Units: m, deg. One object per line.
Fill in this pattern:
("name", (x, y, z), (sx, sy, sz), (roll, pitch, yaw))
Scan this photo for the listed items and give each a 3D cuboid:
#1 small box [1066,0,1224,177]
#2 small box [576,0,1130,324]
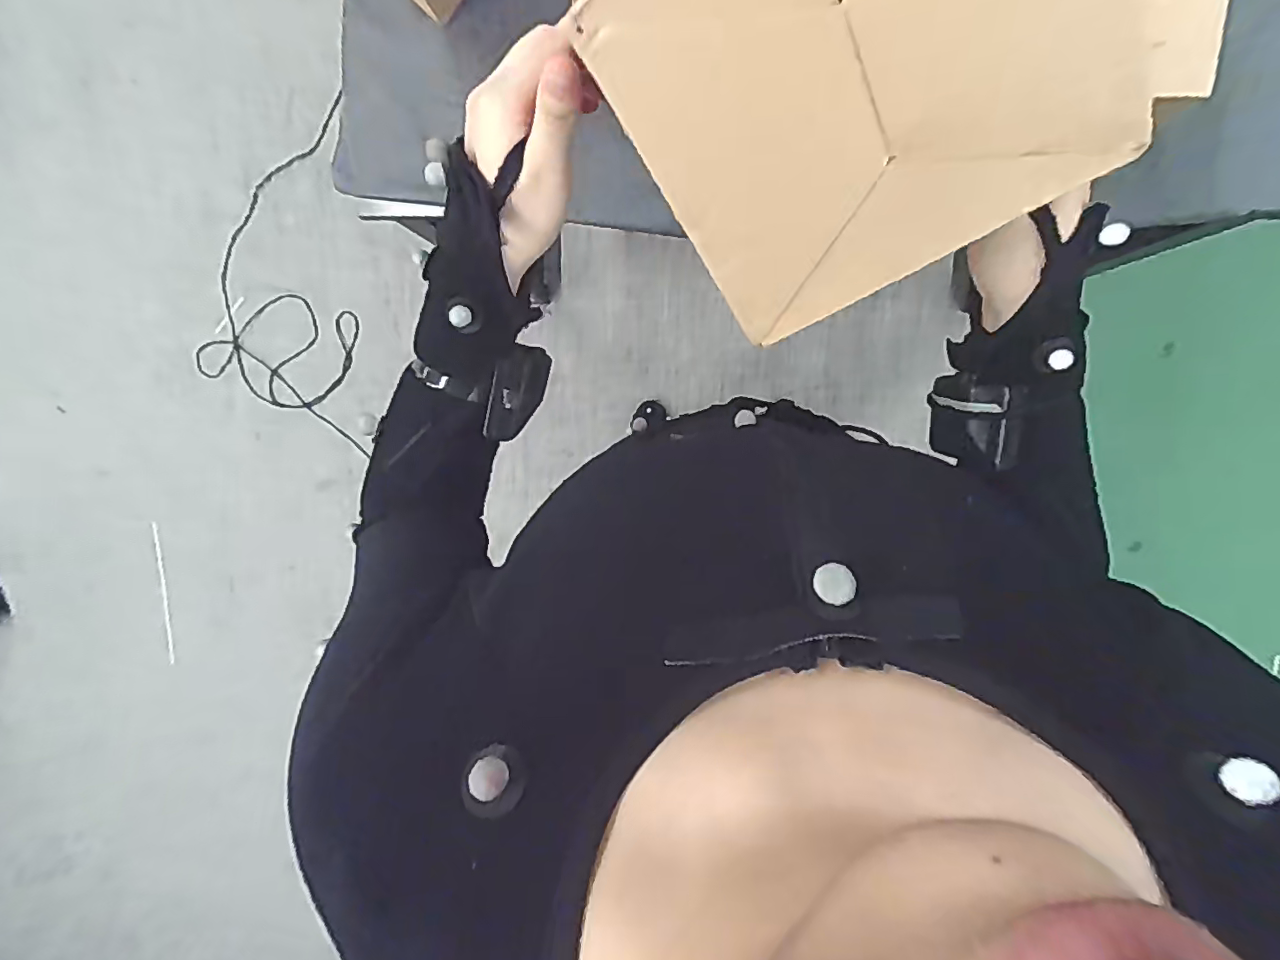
("small box", (0.447, -0.448, 0.568), (0.168, 0.176, 0.179), (4, 97, 7))
("small box", (0.093, -0.209, 0.266), (0.179, 0.176, 0.168), (-23, 128, 27))
